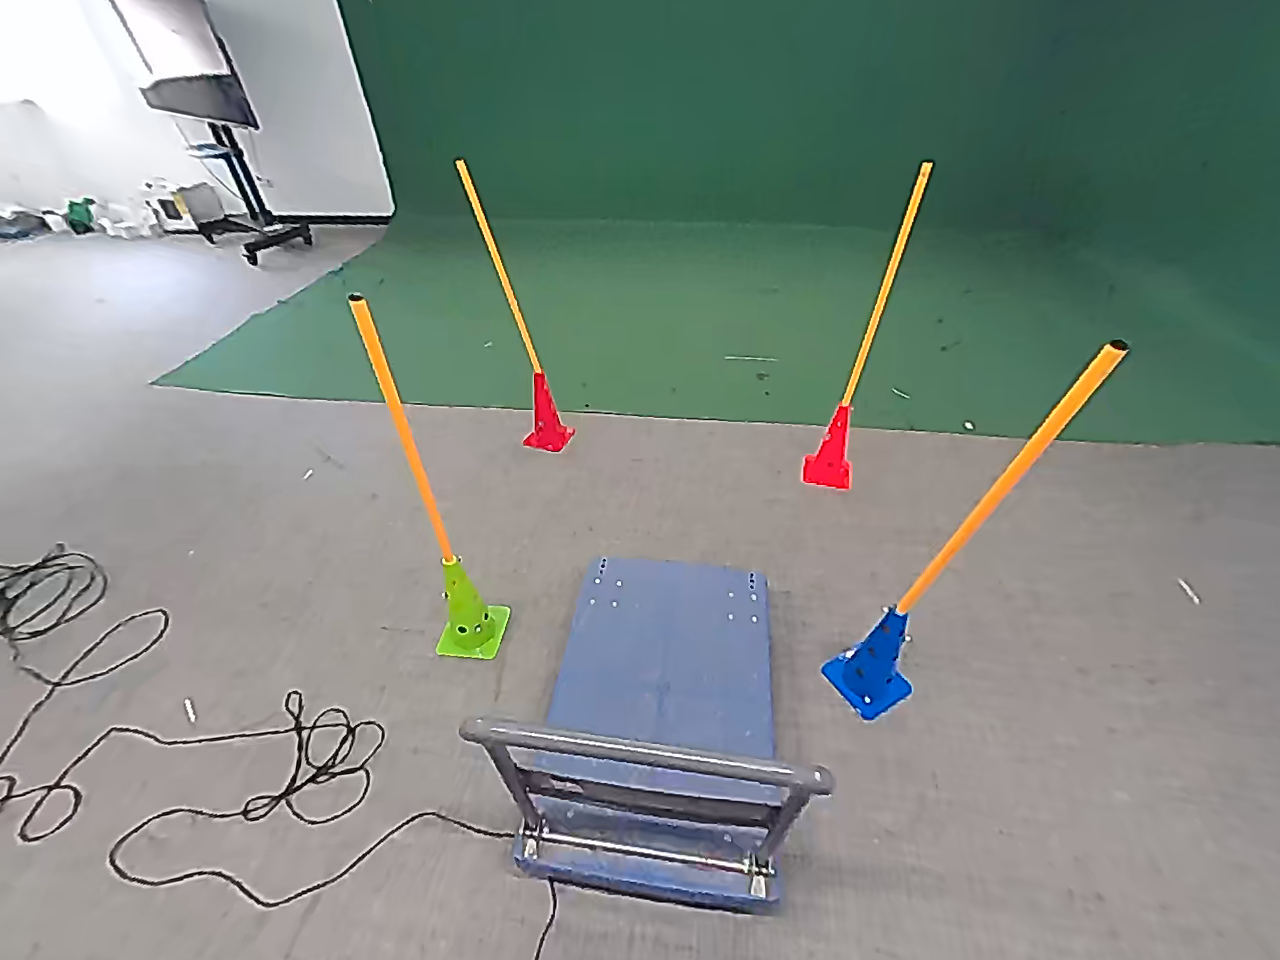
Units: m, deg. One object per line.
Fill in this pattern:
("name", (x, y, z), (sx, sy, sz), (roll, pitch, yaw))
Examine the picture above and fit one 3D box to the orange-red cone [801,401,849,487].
("orange-red cone", (0.810, -0.171, 2.262), (0.198, 0.360, 0.199), (11, 43, 15))
